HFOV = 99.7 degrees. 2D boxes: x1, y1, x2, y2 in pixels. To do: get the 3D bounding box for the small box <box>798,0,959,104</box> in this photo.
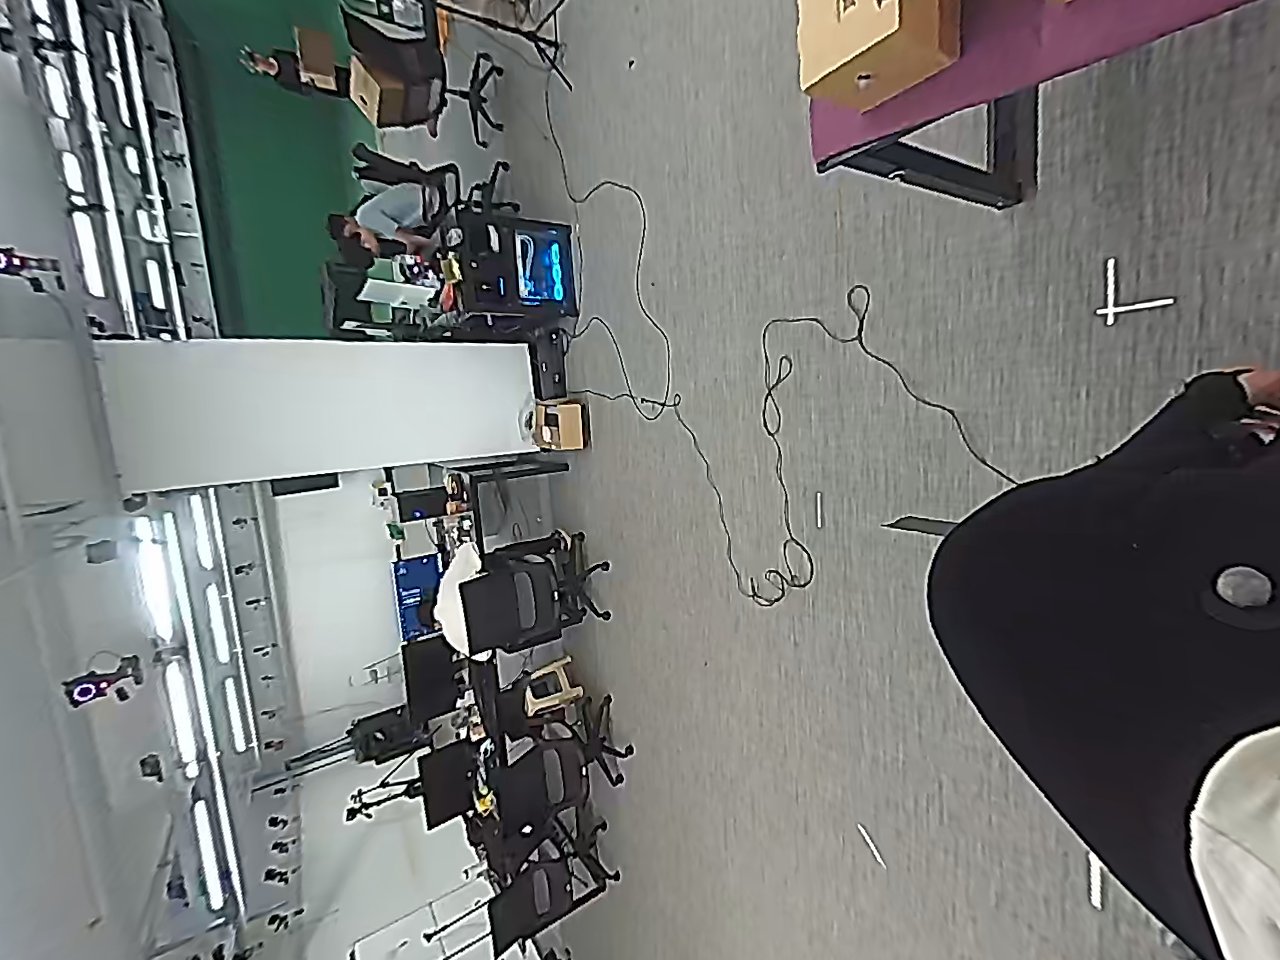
[{"bbox_3d":[0.375,-0.735,0.857,0.179,0.176,0.168,9,106,57],"label":"small box"}]
